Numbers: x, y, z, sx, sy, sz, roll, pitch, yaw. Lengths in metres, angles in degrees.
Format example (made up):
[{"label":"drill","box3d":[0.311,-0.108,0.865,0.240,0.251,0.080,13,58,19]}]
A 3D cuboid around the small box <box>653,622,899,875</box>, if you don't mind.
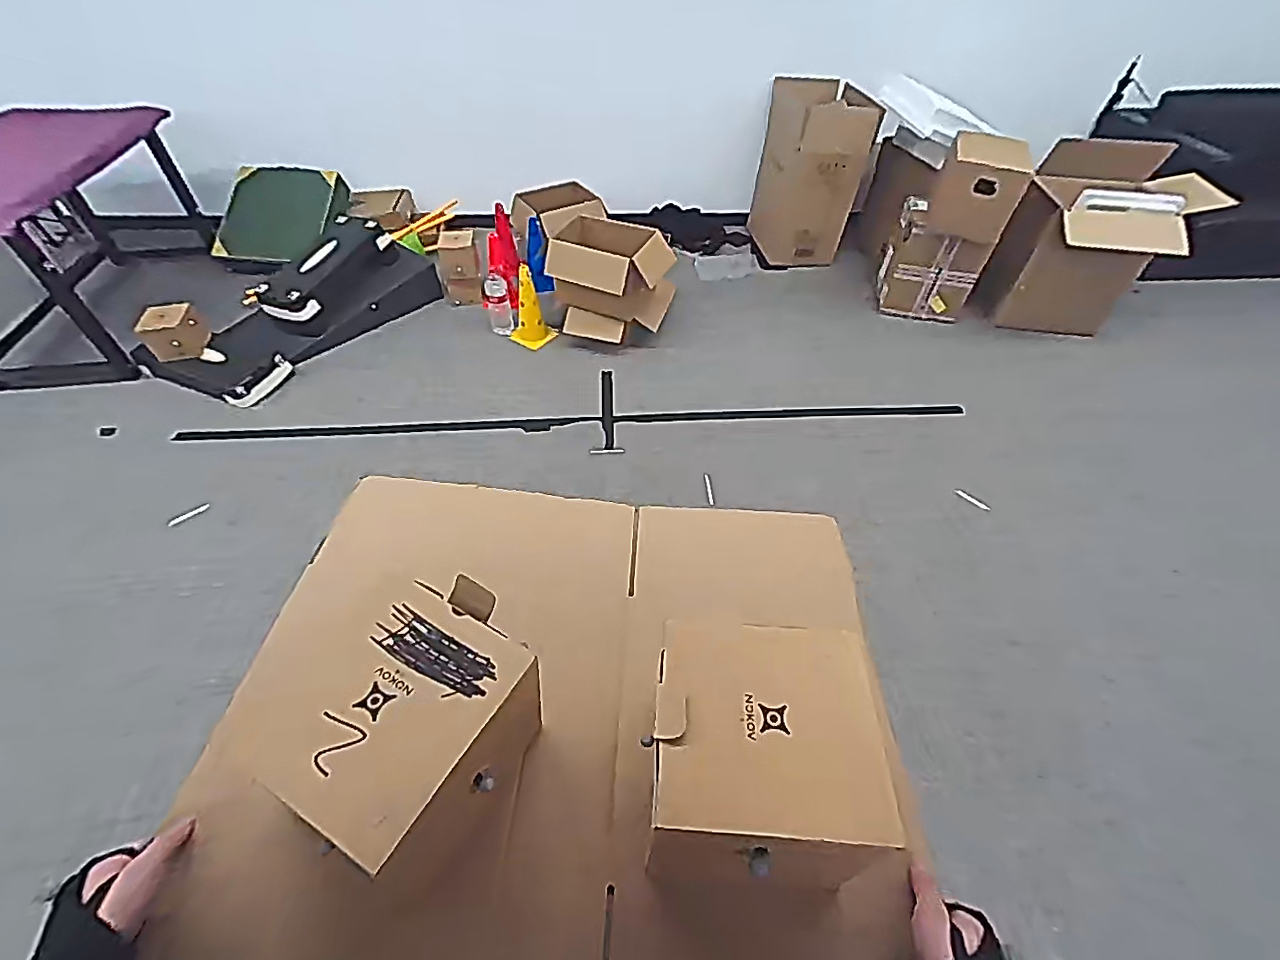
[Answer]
[{"label":"small box","box3d":[0.105,0.251,0.503,0.179,0.176,0.168,2,46,2]}]
